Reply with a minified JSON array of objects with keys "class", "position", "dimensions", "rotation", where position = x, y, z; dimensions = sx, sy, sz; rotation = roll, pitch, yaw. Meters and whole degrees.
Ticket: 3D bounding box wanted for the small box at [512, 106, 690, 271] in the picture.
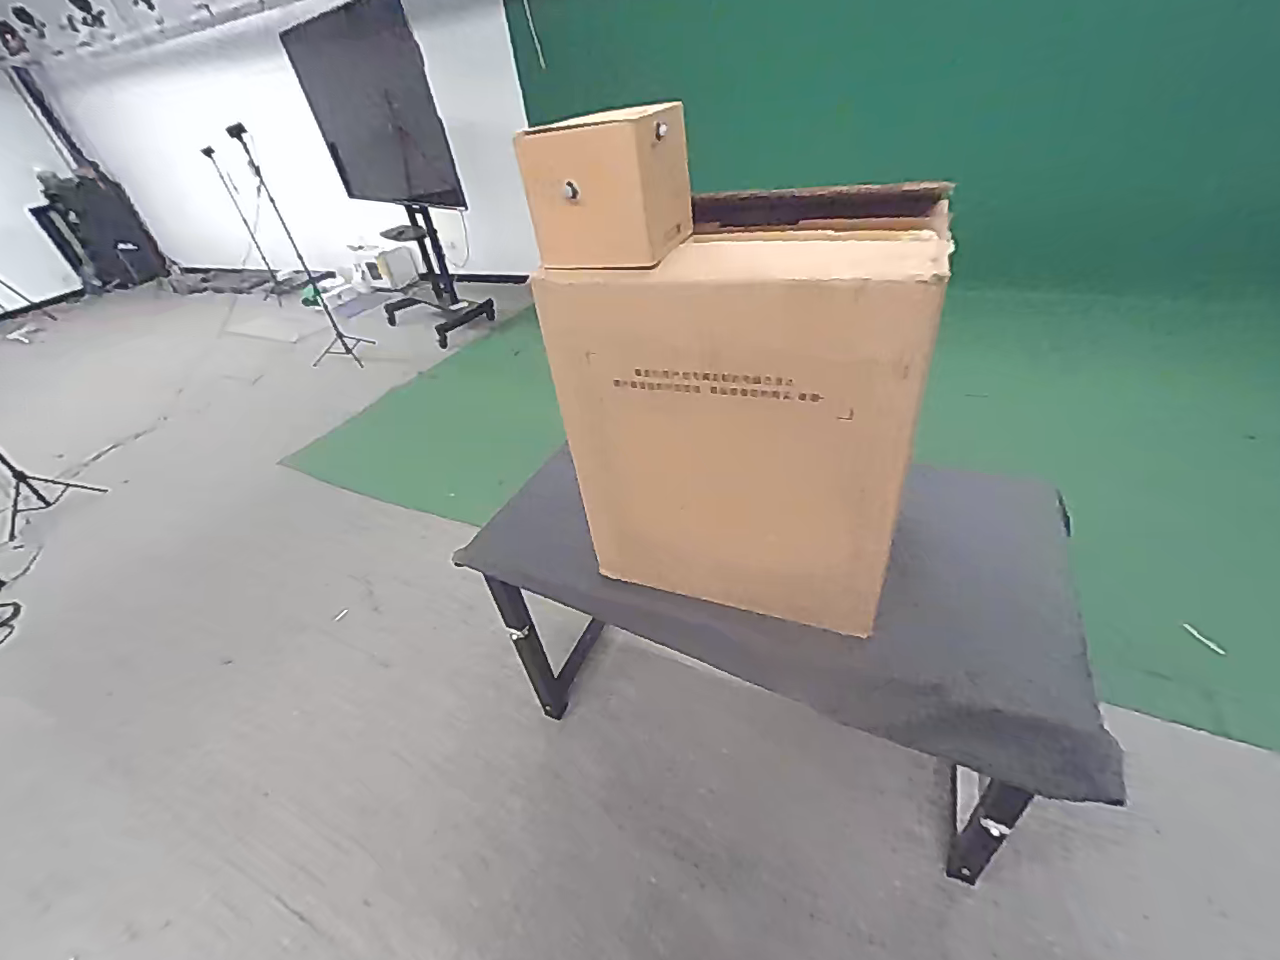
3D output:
[{"class":"small box","position":[-0.043,-0.404,0.761],"dimensions":[0.179,0.176,0.168],"rotation":[7,41,24]}]
